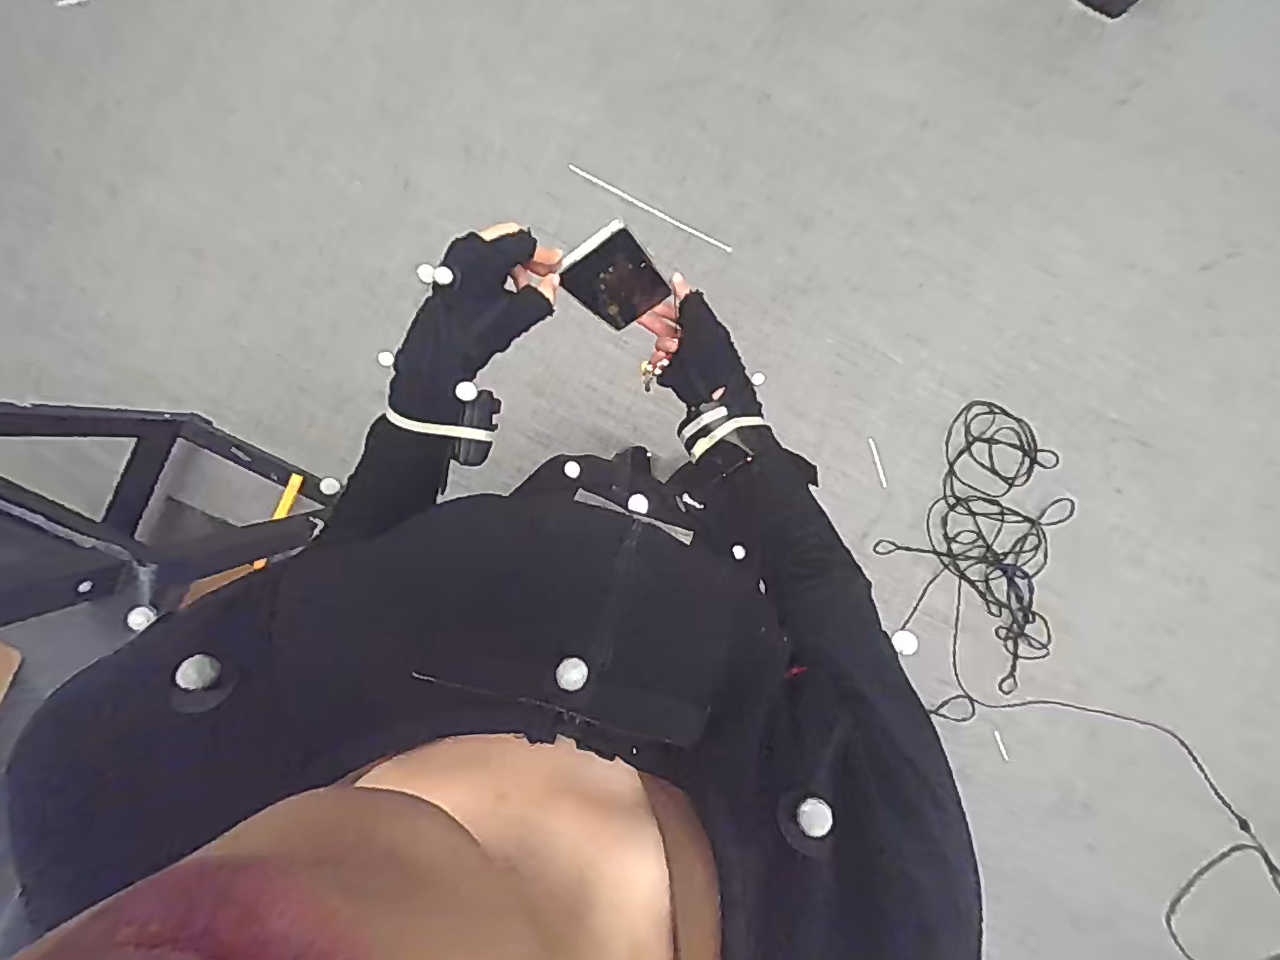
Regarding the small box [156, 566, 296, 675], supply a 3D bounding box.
[{"bbox_3d":[-0.974,0.325,1.292,0.179,0.176,0.168,30,93,-3],"label":"small box"}]
